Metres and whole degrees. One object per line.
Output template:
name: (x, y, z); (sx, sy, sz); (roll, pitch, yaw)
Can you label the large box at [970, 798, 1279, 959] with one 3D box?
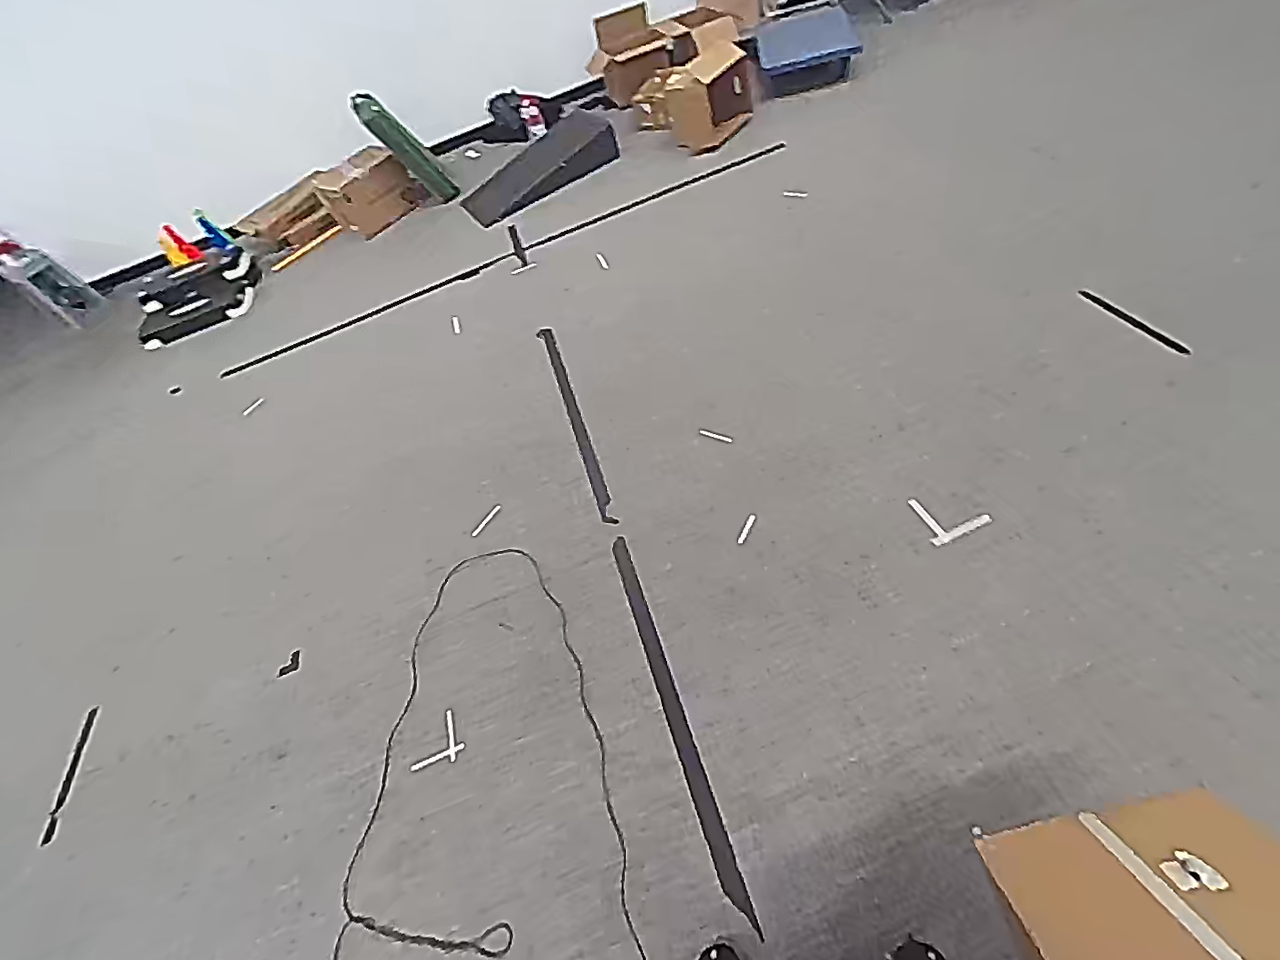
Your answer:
large box: (0.653, 0.639, 0.583); (0.320, 0.408, 0.320); (-20, 86, 9)
